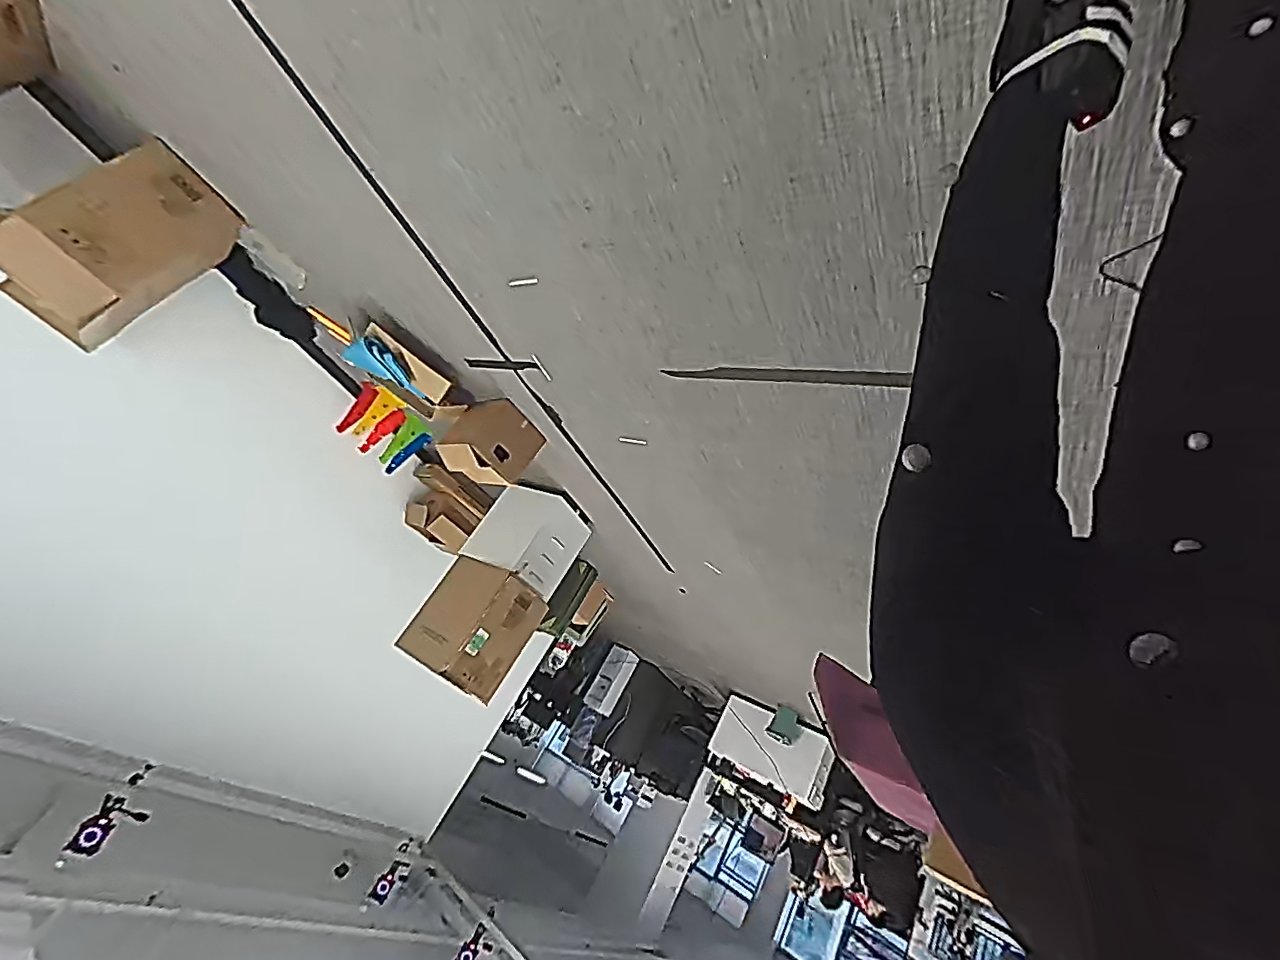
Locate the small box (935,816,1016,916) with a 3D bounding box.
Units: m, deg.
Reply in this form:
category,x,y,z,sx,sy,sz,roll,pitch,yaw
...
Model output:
category,x,y,z,sx,sy,sz,roll,pitch,yaw
small box,0.987,1.126,1.584,0.179,0.176,0.168,7,145,42
